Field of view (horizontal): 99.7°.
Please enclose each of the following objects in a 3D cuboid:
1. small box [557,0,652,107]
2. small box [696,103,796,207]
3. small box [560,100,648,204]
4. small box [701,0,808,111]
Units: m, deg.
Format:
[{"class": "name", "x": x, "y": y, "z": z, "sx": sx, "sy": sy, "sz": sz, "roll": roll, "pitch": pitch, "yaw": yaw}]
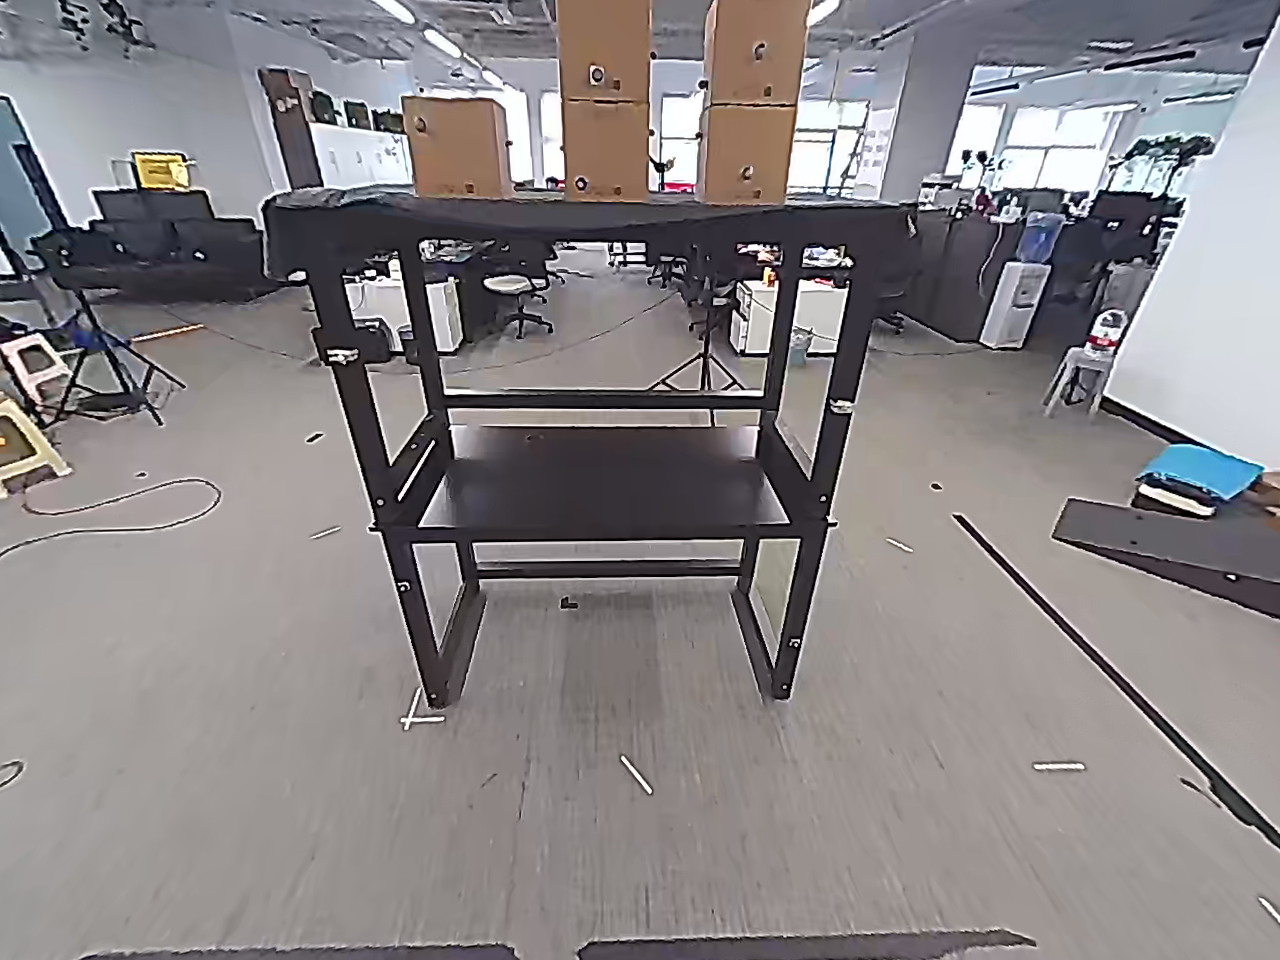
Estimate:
[{"class": "small box", "x": -0.064, "y": -0.802, "z": 1.022, "sx": 0.168, "sy": 0.176, "sz": 0.179, "roll": -1, "pitch": 30, "yaw": -1}, {"class": "small box", "x": 0.207, "y": -0.662, "z": 1.111, "sx": 0.168, "sy": 0.176, "sz": 0.179, "roll": -1, "pitch": 29, "yaw": -1}, {"class": "small box", "x": -0.068, "y": -0.659, "z": 1.098, "sx": 0.168, "sy": 0.176, "sz": 0.179, "roll": 0, "pitch": 28, "yaw": -3}, {"class": "small box", "x": 0.210, "y": -0.805, "z": 1.031, "sx": 0.168, "sy": 0.176, "sz": 0.179, "roll": 0, "pitch": 30, "yaw": -1}]
